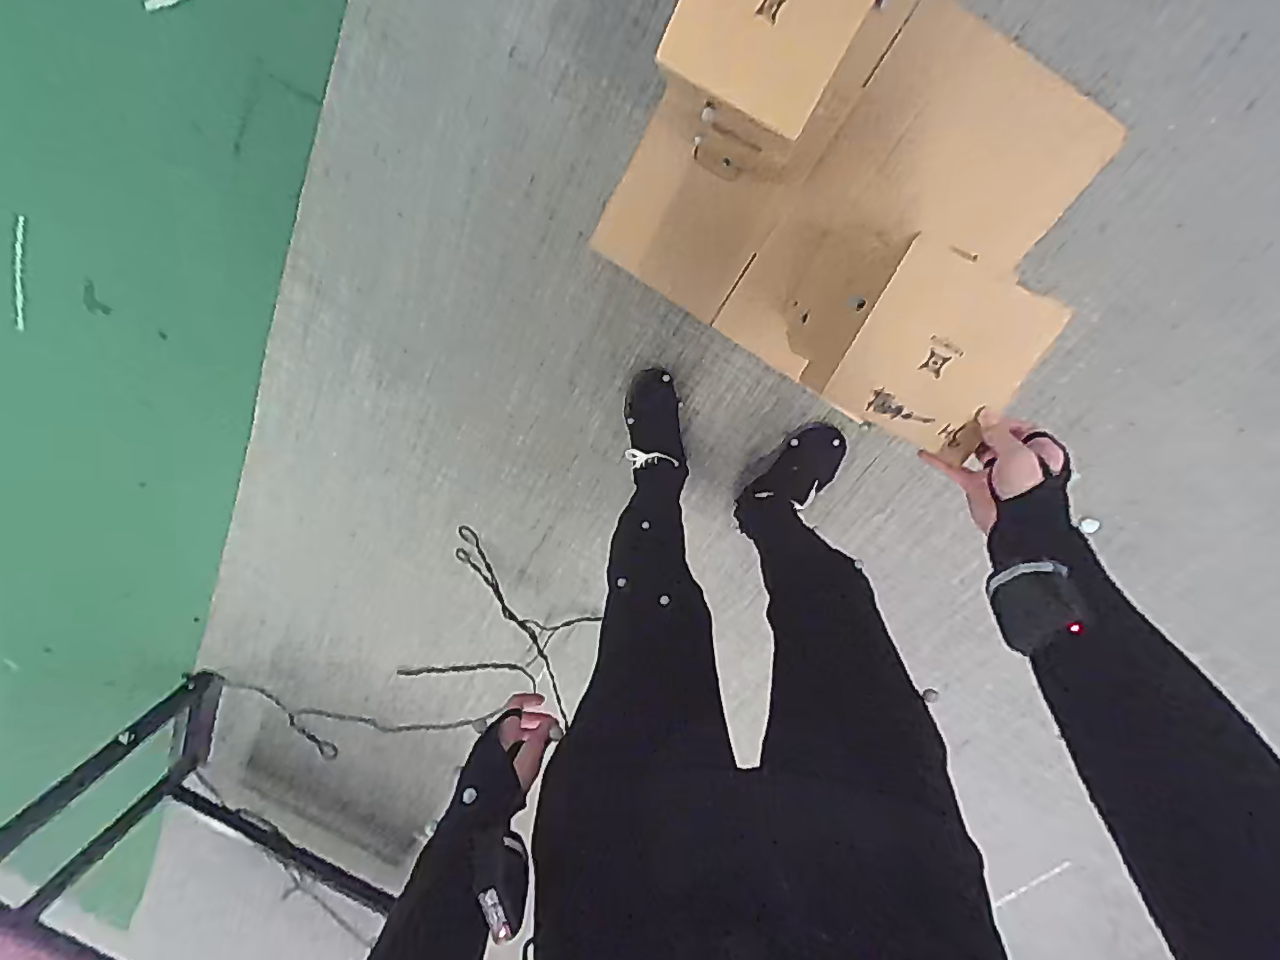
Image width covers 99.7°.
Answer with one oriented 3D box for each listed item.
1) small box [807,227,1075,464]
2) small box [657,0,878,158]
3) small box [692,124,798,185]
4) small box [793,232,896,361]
[{"bbox_3d":[0.306,-0.146,0.601,0.168,0.176,0.179,27,107,0],"label":"small box"},{"bbox_3d":[0.140,-0.474,0.572,0.168,0.176,0.179,29,115,-1],"label":"small box"},{"bbox_3d":[0.196,-0.602,0.866,0.168,0.176,0.179,25,116,0],"label":"small box"},{"bbox_3d":[0.341,-0.246,0.802,0.168,0.176,0.179,26,116,-1],"label":"small box"}]
